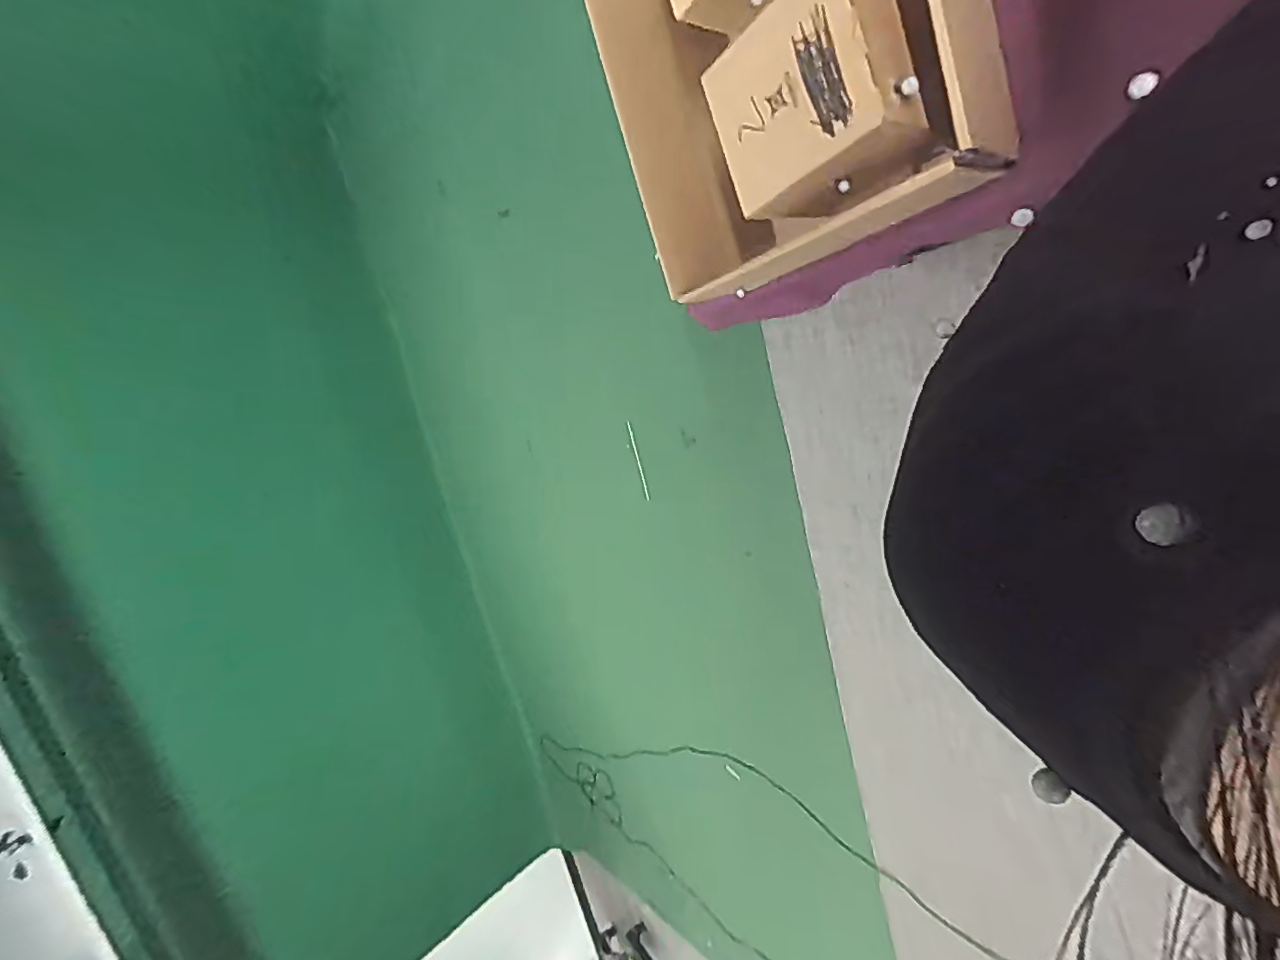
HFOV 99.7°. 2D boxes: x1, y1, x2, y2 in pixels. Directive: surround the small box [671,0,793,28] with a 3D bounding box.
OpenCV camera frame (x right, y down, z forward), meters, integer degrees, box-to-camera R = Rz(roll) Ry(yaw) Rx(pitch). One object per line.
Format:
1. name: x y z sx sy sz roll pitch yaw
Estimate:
1. small box: 0.123 -0.650 0.599 0.168 0.176 0.179 -10 100 52
